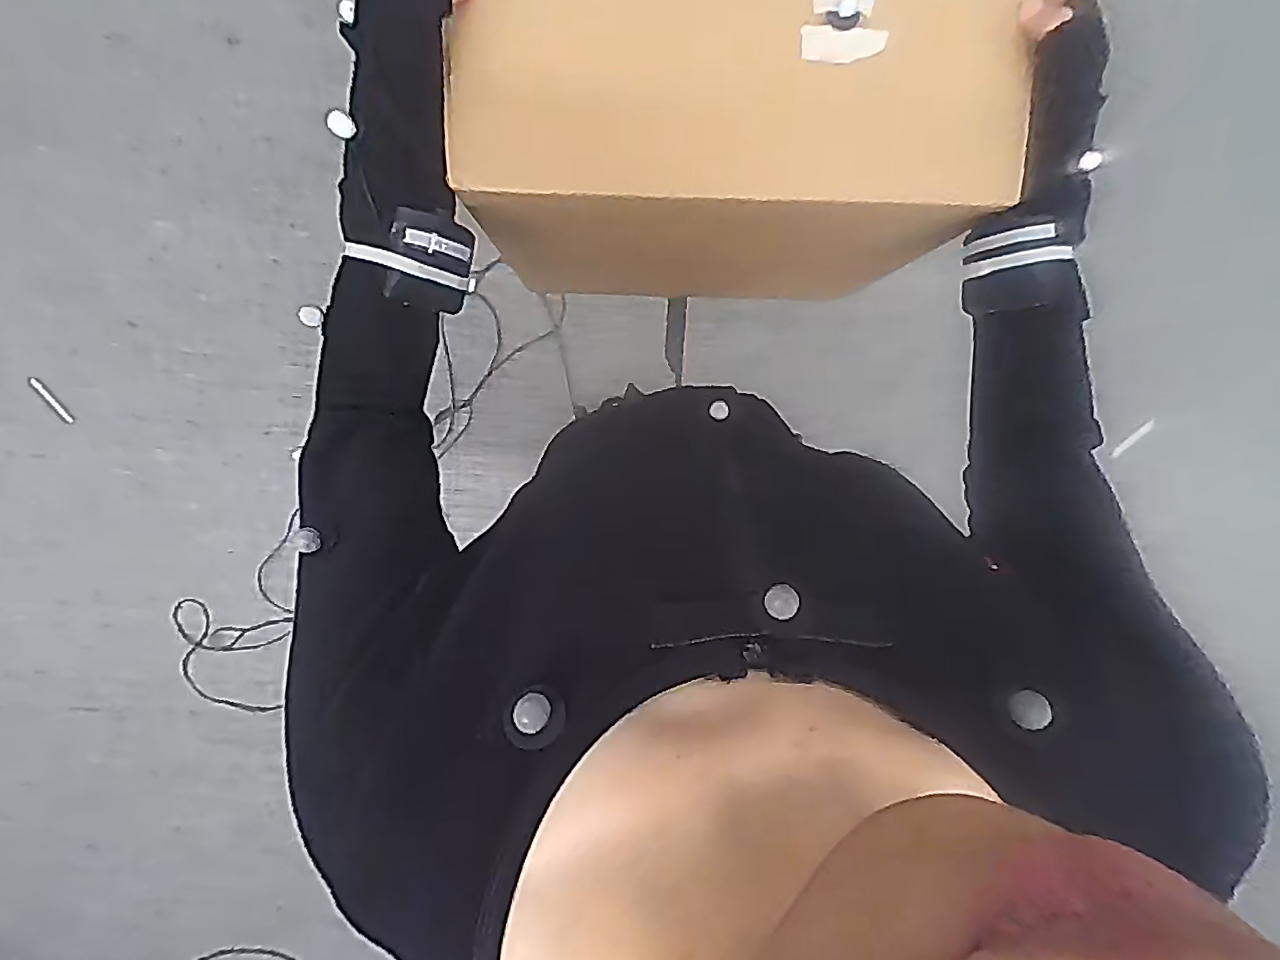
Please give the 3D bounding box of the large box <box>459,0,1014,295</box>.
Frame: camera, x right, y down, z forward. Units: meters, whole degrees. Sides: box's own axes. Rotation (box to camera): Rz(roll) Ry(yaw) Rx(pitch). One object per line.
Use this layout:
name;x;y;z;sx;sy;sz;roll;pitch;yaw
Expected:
large box;0.064;-0.375;0.529;0.408;0.320;0.320;0;96;-2
